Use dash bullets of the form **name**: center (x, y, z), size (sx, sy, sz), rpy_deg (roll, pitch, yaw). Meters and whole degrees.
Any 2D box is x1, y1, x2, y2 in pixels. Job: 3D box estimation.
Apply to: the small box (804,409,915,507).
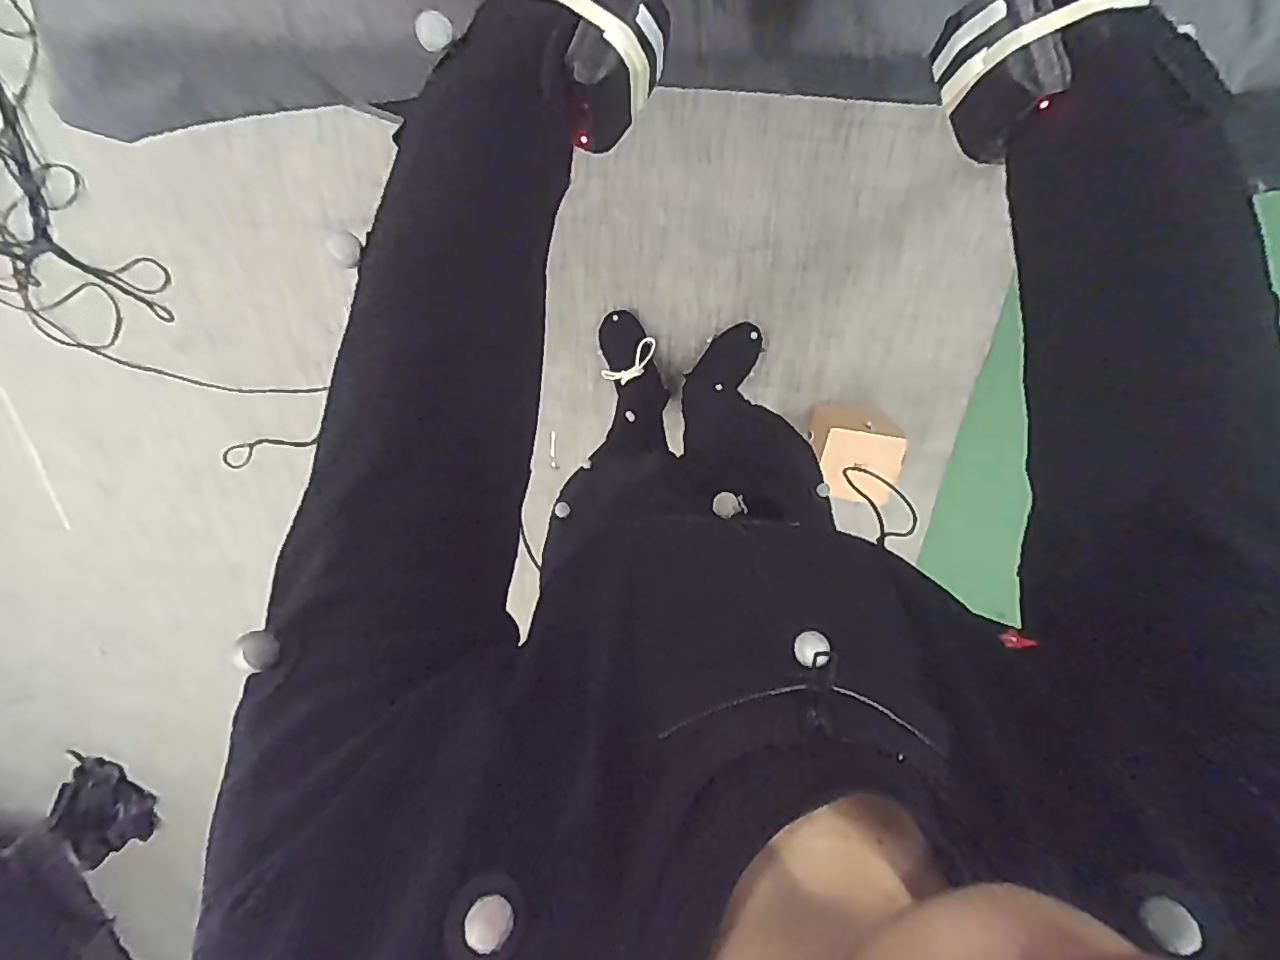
- **small box**: center (0.497, -0.057, 1.254), size (0.179, 0.176, 0.168), rpy_deg (9, 114, 3)
